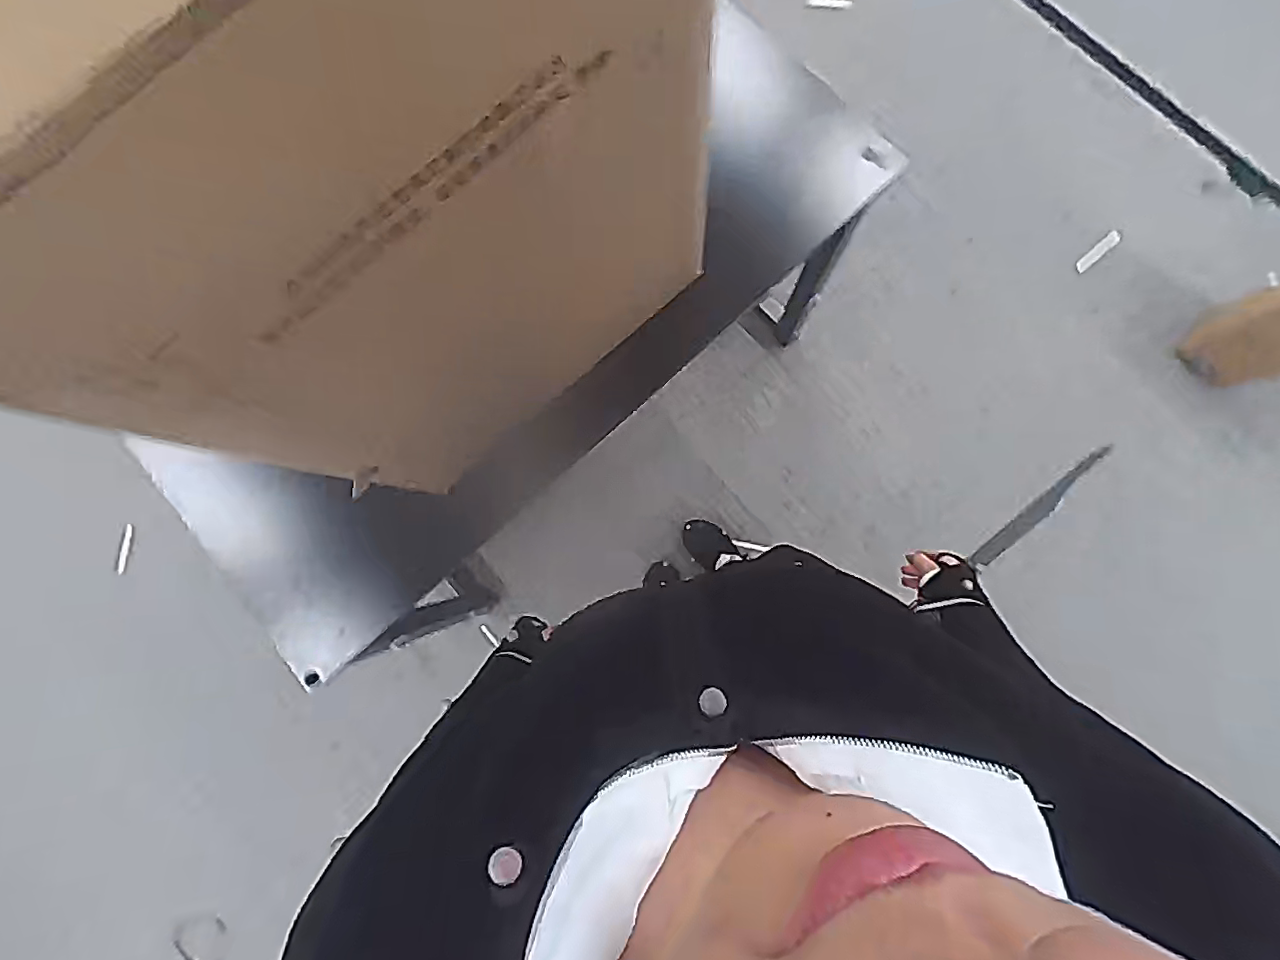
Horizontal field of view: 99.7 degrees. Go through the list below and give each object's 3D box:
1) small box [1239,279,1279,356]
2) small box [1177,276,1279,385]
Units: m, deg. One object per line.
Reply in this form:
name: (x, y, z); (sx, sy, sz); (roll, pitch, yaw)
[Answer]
small box: (1.534, -0.389, 1.206); (0.168, 0.176, 0.179); (-42, 83, 0)
small box: (1.546, -0.371, 1.369); (0.168, 0.176, 0.179); (43, 90, 8)
